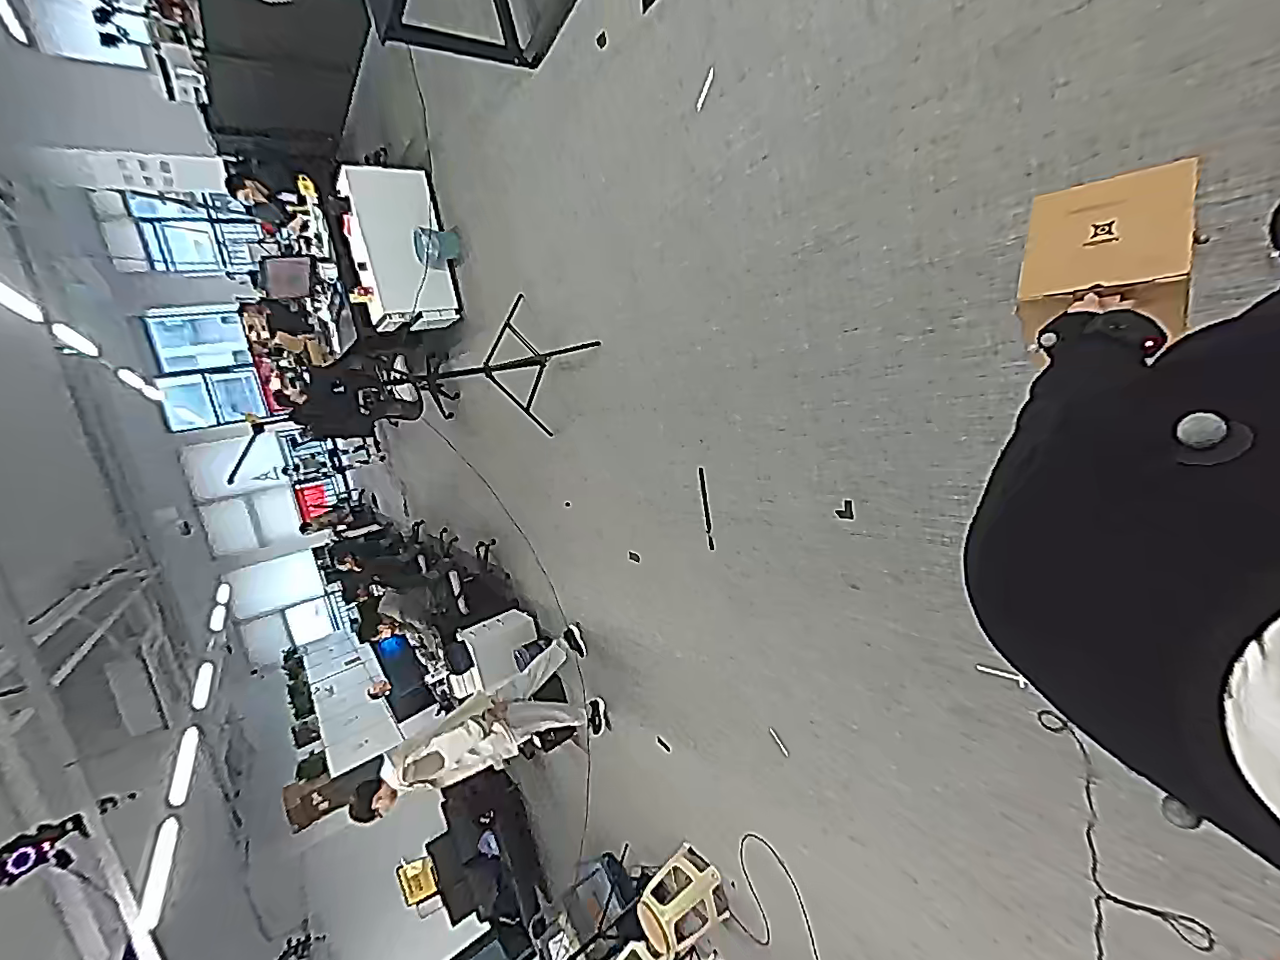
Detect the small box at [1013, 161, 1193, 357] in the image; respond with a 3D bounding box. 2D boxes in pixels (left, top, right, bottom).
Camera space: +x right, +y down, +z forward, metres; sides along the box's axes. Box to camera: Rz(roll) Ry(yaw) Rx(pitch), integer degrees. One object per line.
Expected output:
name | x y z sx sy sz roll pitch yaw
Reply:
small box | 0.638 -0.285 0.748 0.168 0.176 0.179 5 70 43
